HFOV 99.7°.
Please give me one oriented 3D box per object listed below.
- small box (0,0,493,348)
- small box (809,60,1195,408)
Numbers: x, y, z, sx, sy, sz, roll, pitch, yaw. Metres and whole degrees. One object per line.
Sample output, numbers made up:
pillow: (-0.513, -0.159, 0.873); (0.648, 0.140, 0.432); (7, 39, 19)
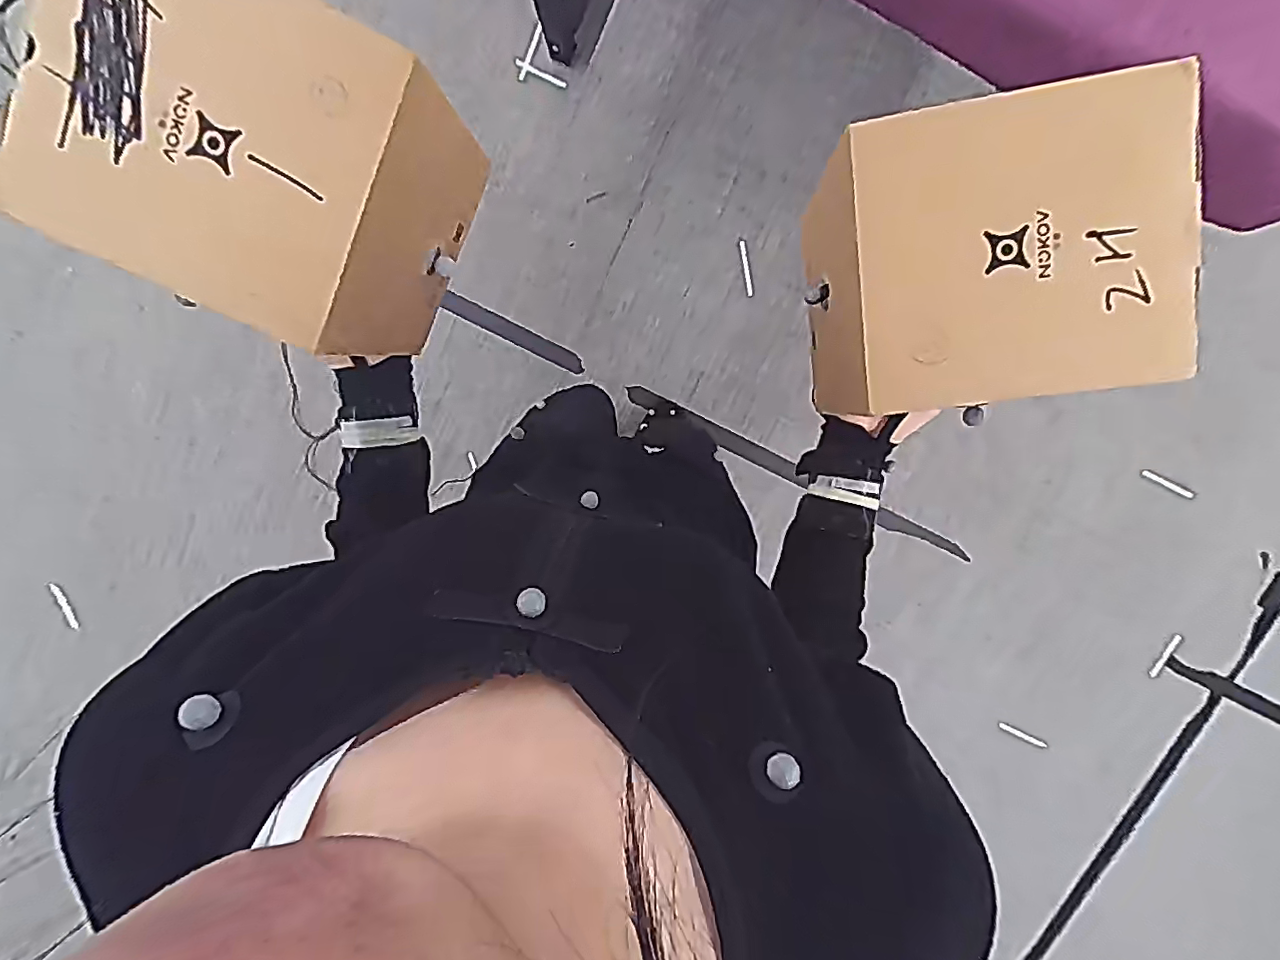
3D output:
small box: (-0.221, -0.195, 0.353); (0.179, 0.176, 0.168); (25, 101, -8)
small box: (0.222, -0.141, 0.381); (0.179, 0.176, 0.168); (-6, 97, 8)
